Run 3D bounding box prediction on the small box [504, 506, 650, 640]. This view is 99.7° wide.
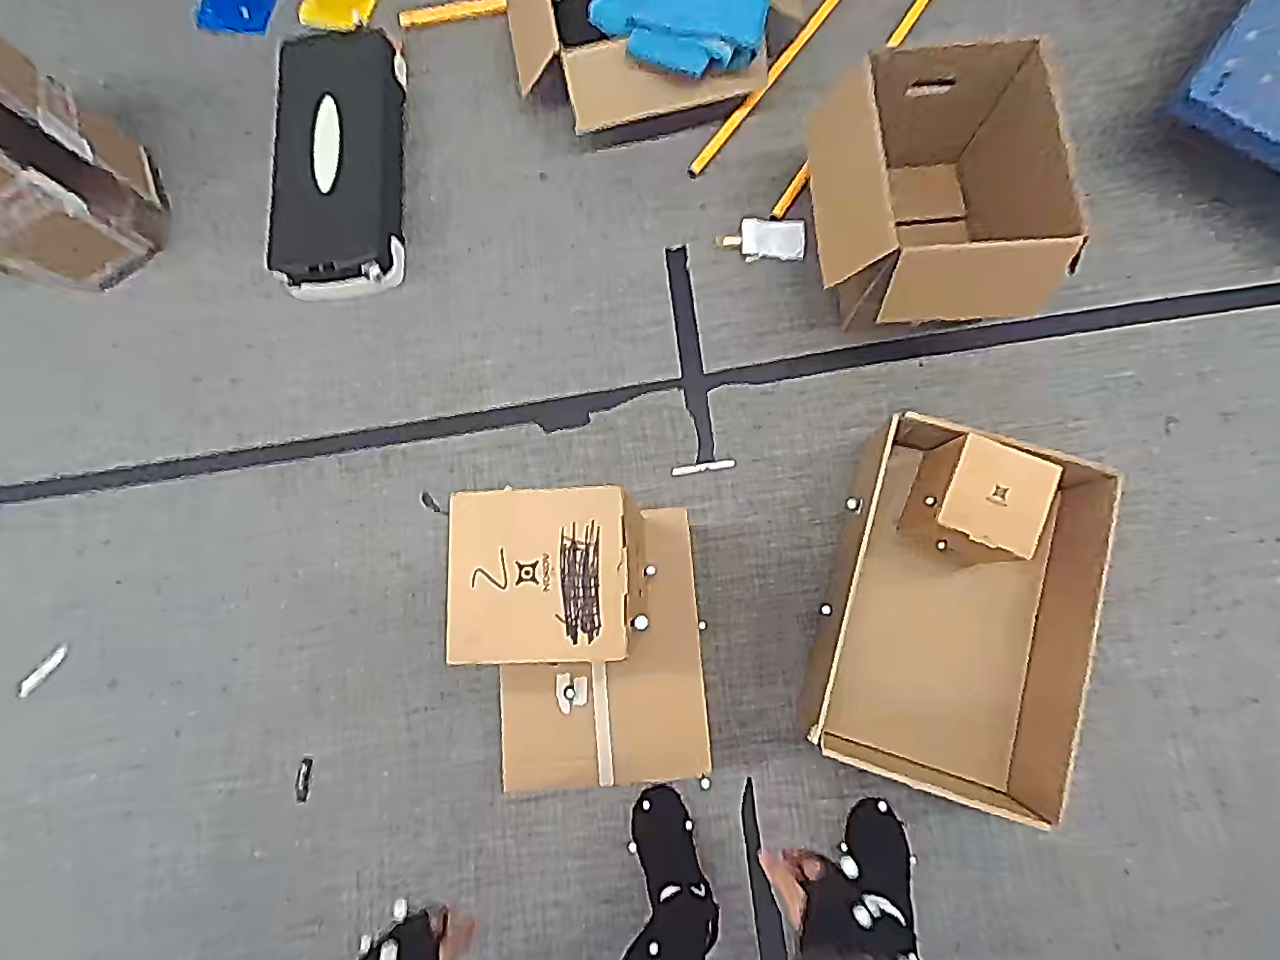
[{"bbox_3d":[-0.080,0.130,0.756,0.179,0.176,0.168,-3,80,3],"label":"small box"}]

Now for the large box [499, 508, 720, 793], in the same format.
[{"bbox_3d":[-0.046,0.279,0.977,0.320,0.320,0.408,-6,80,4],"label":"large box"}]
